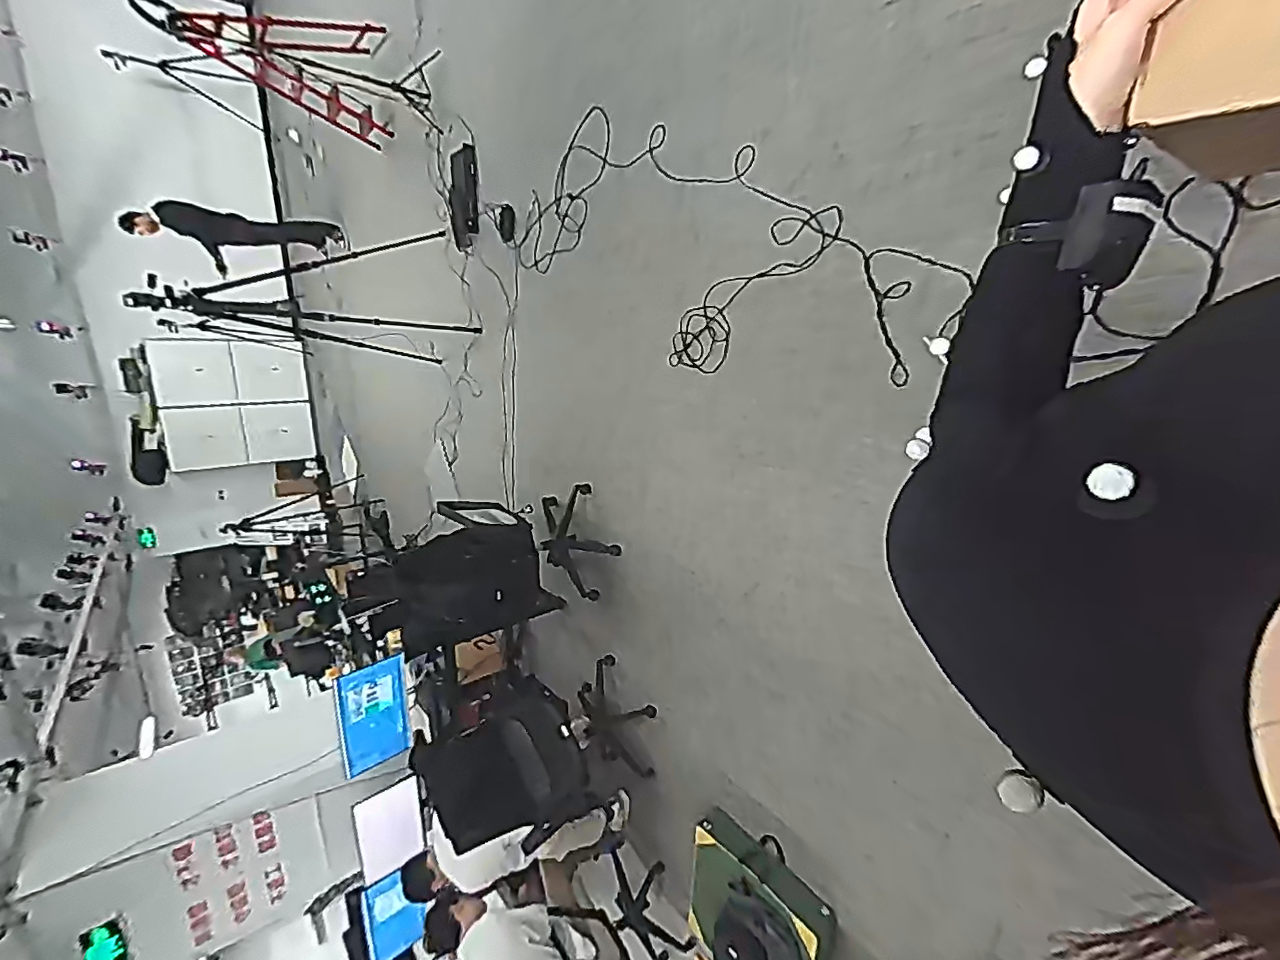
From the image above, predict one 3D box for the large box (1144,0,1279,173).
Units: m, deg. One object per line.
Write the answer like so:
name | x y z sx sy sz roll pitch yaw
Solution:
large box | 0.579 -0.385 0.274 0.408 0.320 0.320 19 118 47
